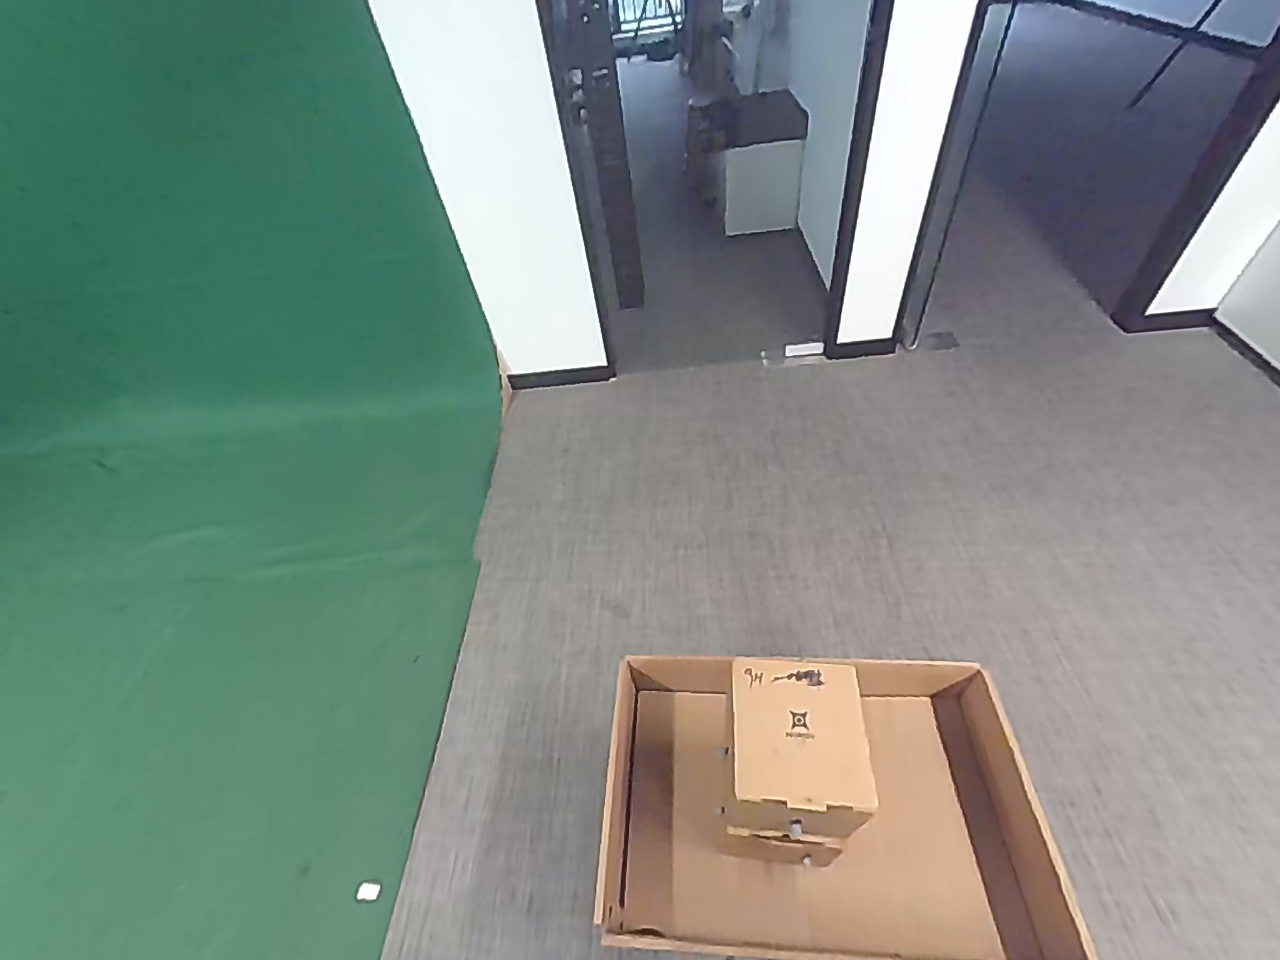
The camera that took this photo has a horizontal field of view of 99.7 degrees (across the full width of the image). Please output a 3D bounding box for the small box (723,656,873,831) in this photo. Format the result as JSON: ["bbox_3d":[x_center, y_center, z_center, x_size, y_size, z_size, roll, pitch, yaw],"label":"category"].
[{"bbox_3d":[0.203,0.364,0.743,0.168,0.176,0.179,2,49,7],"label":"small box"}]

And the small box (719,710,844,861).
[{"bbox_3d":[0.214,0.482,0.857,0.168,0.176,0.179,2,46,7],"label":"small box"}]
